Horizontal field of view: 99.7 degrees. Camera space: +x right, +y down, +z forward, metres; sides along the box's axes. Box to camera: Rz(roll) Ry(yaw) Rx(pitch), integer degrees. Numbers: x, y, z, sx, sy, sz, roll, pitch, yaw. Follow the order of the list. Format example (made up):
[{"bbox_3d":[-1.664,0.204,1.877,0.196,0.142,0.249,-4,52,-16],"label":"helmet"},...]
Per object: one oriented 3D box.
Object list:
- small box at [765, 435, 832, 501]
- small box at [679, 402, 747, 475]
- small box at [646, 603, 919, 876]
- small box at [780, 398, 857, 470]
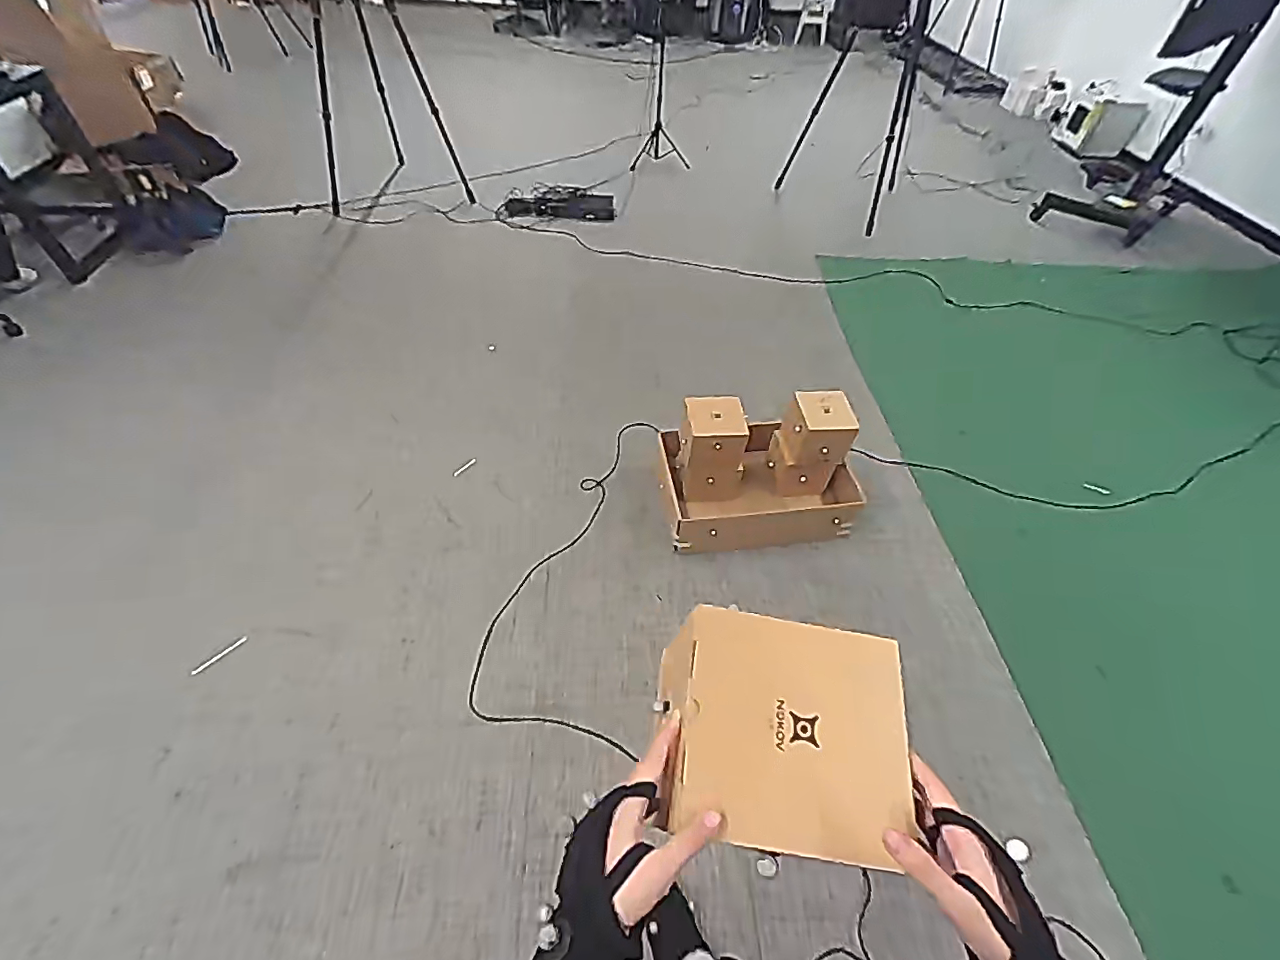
[{"bbox_3d":[0.543,-0.041,1.872,0.179,0.176,0.168,-2,50,-5],"label":"small box"},{"bbox_3d":[0.221,-0.128,1.705,0.179,0.176,0.168,-1,51,-6],"label":"small box"},{"bbox_3d":[0.110,0.227,0.478,0.179,0.176,0.168,11,58,-1],"label":"small box"},{"bbox_3d":[0.568,-0.146,1.747,0.168,0.176,0.179,-1,49,-7],"label":"small box"}]
